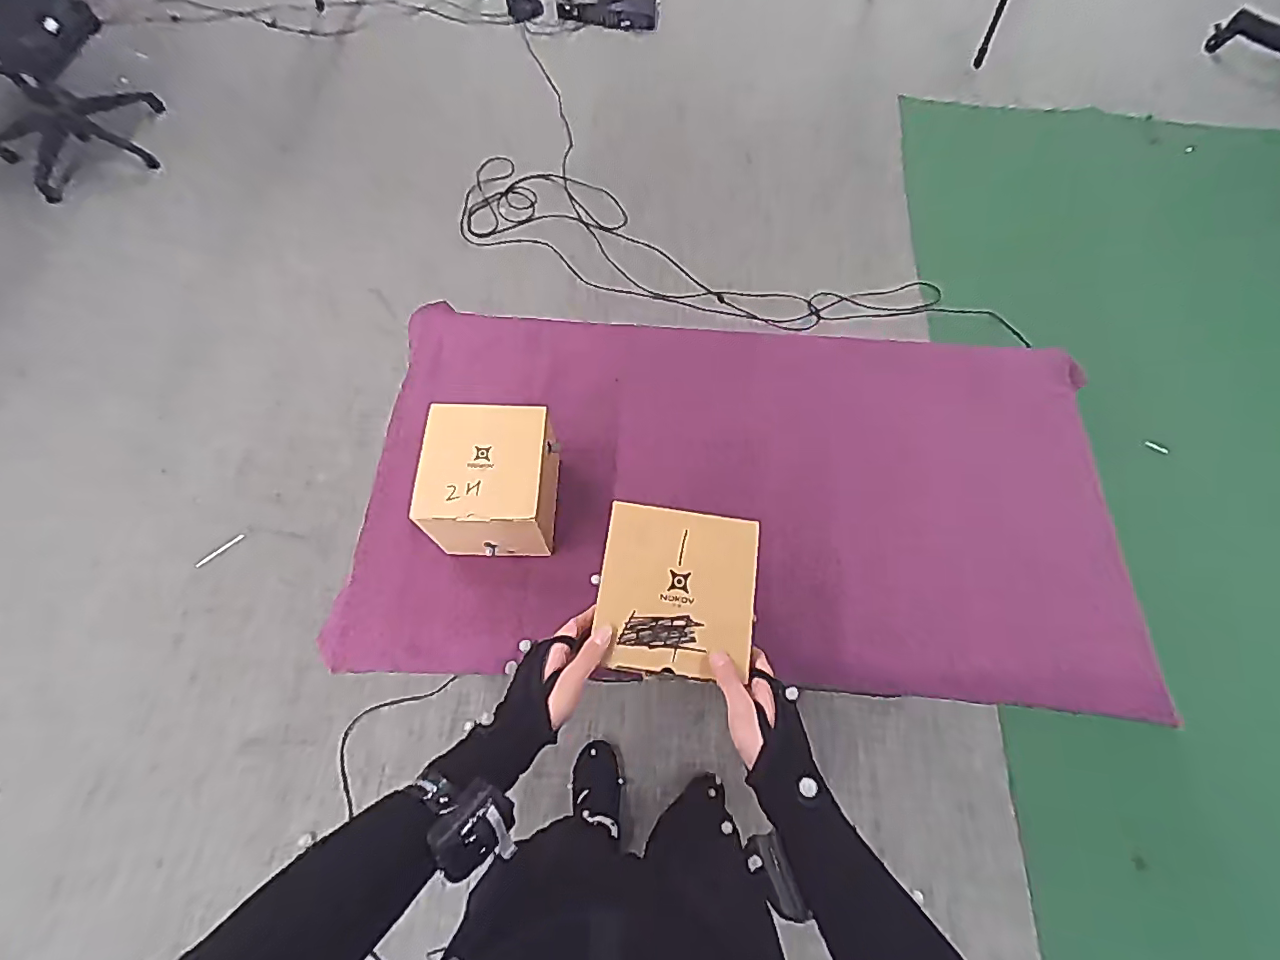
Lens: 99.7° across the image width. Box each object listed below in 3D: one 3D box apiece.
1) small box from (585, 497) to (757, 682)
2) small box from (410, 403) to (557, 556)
[{"bbox_3d":[0.035,0.138,0.647,0.168,0.176,0.179,8,70,1],"label":"small box"},{"bbox_3d":[-0.218,0.004,0.807,0.168,0.176,0.179,1,66,-1],"label":"small box"}]
